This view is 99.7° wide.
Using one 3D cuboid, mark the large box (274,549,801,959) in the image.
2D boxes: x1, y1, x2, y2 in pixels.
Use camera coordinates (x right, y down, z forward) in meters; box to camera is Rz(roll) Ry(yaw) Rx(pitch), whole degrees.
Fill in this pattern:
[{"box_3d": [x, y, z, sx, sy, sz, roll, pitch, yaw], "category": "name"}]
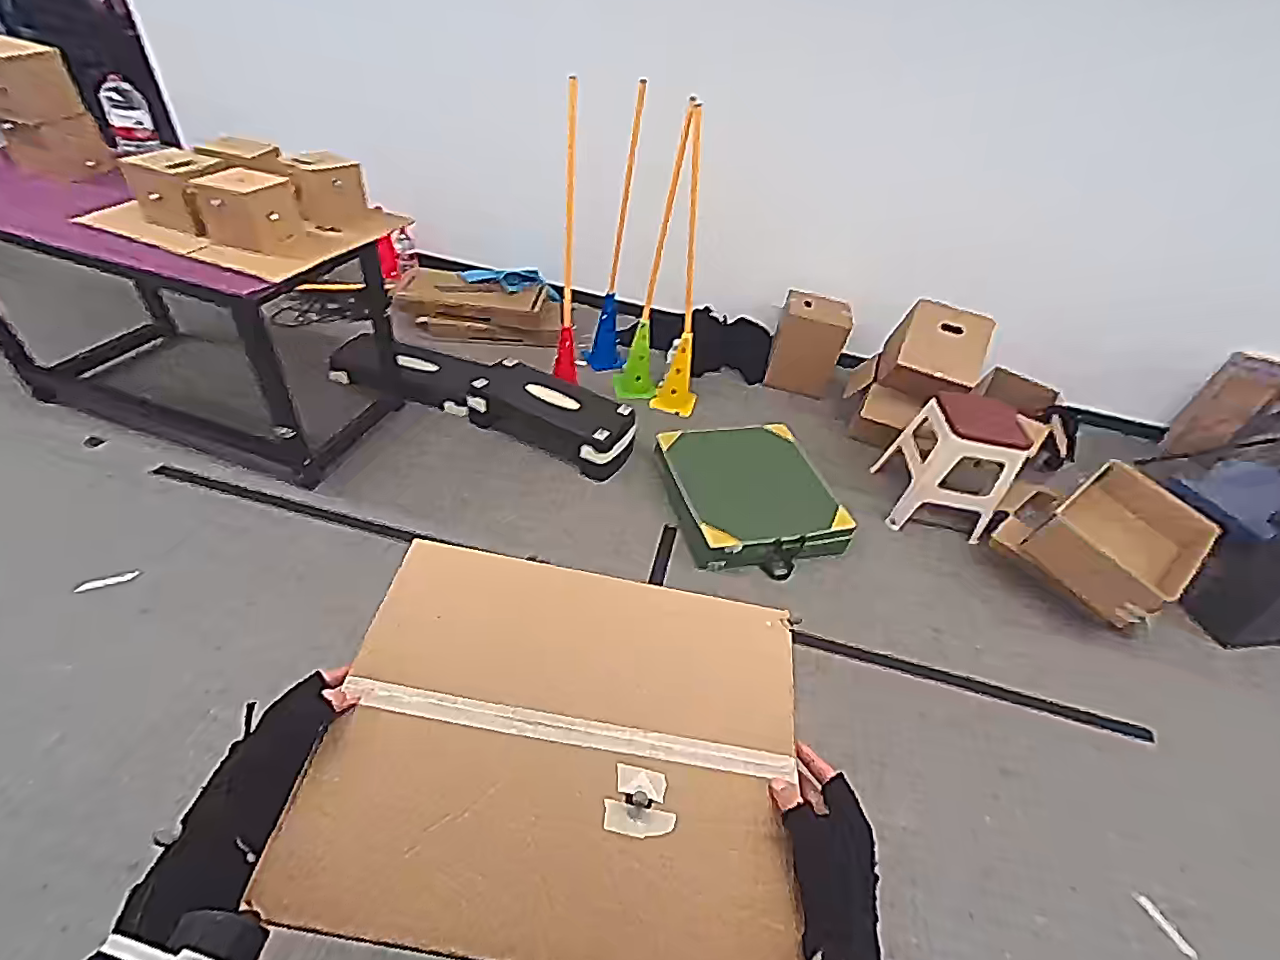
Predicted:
[{"box_3d": [-0.079, 0.317, 0.605, 0.408, 0.320, 0.320, 12, 51, -2], "category": "large box"}]
